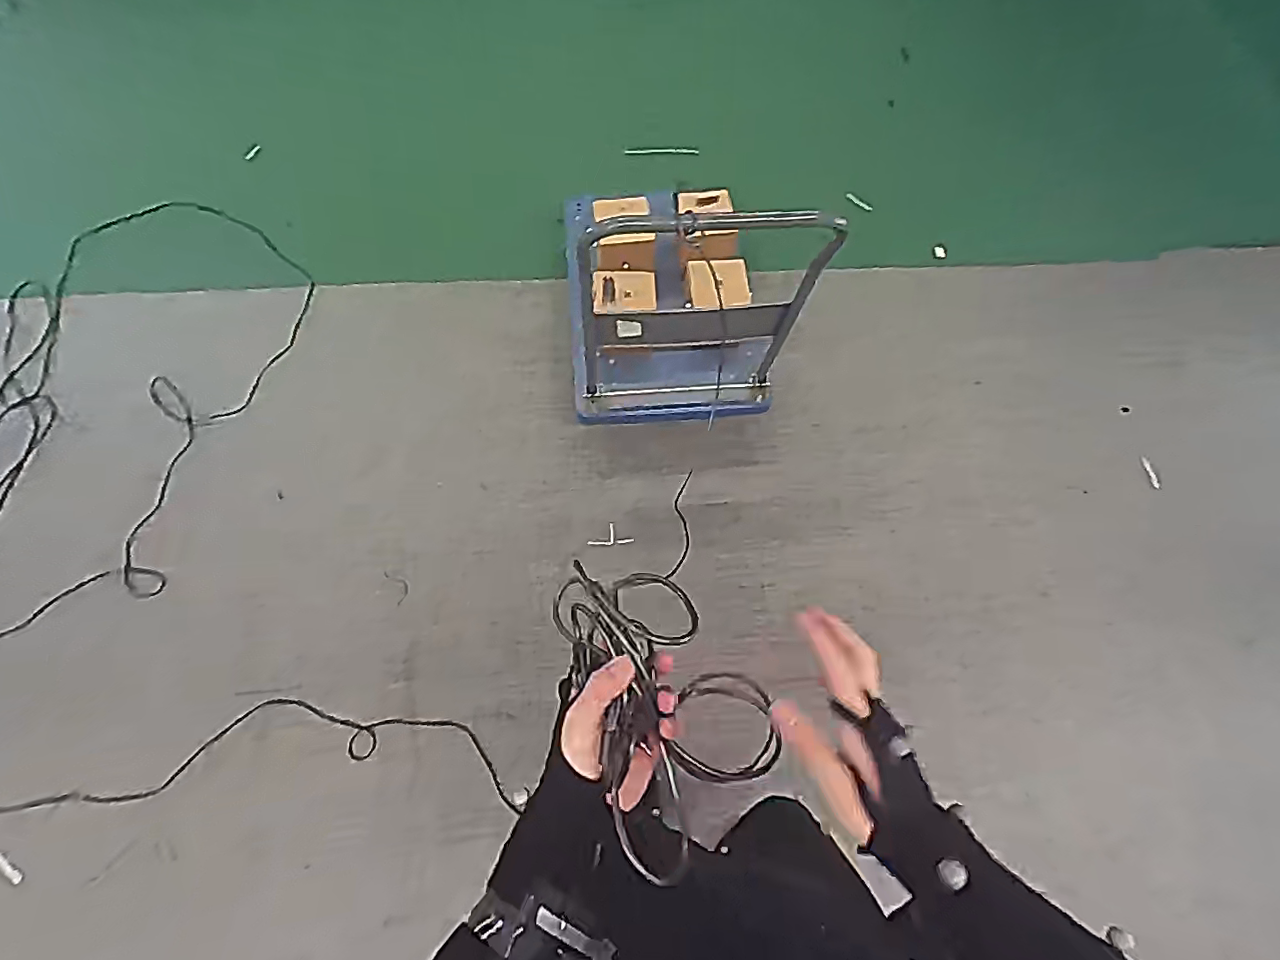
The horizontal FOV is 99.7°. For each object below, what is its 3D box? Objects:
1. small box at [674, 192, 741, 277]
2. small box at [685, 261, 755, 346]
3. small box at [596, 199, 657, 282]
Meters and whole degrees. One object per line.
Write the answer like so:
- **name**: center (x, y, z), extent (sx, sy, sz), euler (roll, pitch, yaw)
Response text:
- **small box**: center (0.206, -0.768, 1.698), extent (0.168, 0.176, 0.179), euler (-8, 69, -4)
- **small box**: center (0.230, -0.519, 1.597), extent (0.168, 0.176, 0.179), euler (-3, 68, -3)
- **small box**: center (-0.042, -0.734, 1.676), extent (0.168, 0.176, 0.179), euler (-7, 68, -6)
